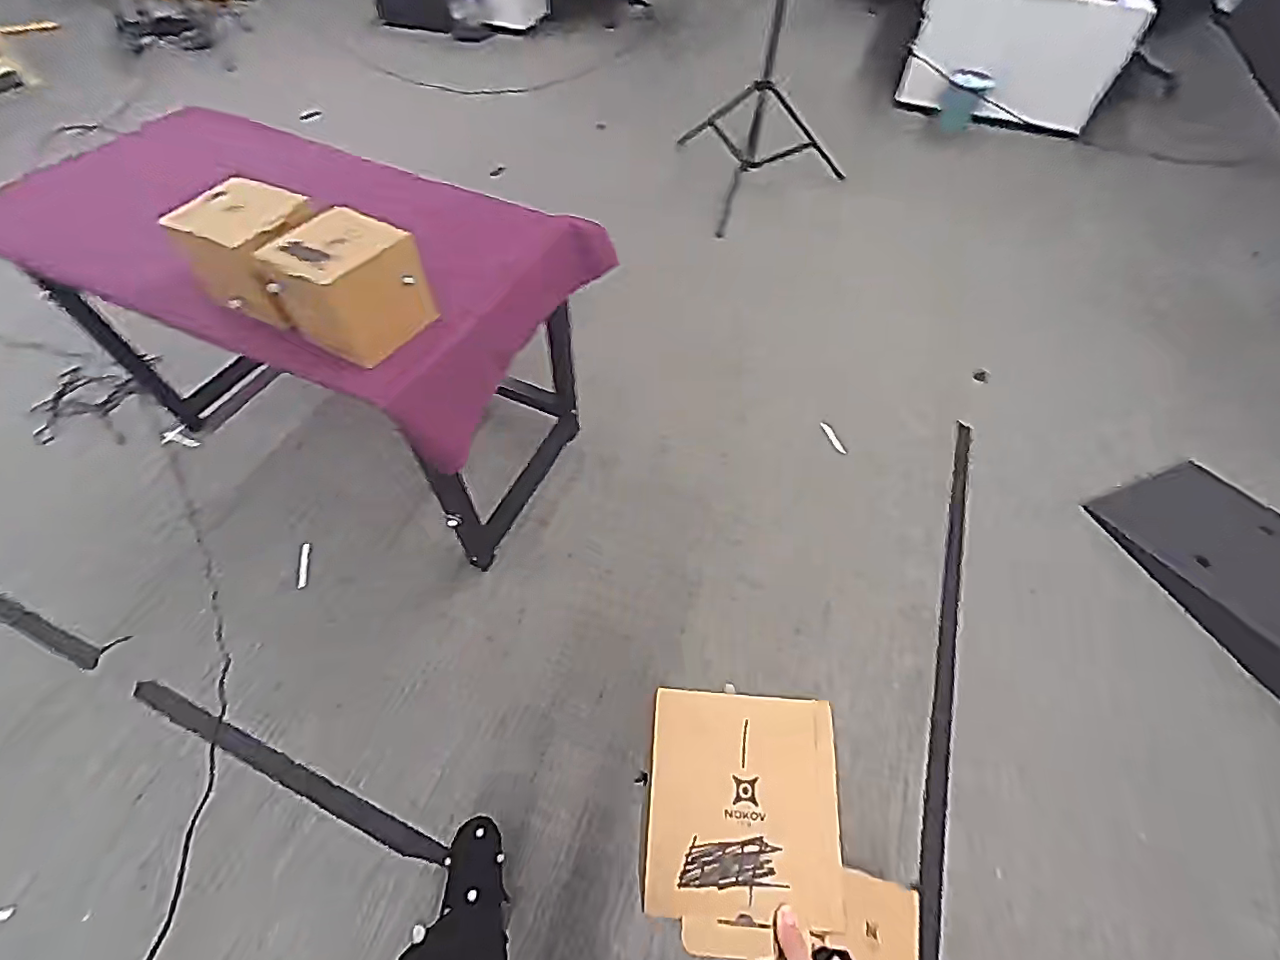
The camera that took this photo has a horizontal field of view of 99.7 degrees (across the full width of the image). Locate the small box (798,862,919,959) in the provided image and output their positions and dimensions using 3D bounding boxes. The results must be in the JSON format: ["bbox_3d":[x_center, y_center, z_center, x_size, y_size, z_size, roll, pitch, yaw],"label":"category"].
[{"bbox_3d":[0.412,0.856,1.033,0.168,0.176,0.179,16,56,7],"label":"small box"}]

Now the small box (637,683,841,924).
[{"bbox_3d":[0.084,0.306,0.541,0.168,0.176,0.179,4,65,-1],"label":"small box"}]

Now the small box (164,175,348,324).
[{"bbox_3d":[-0.672,-0.409,0.975,0.179,0.176,0.168,22,58,11],"label":"small box"}]
